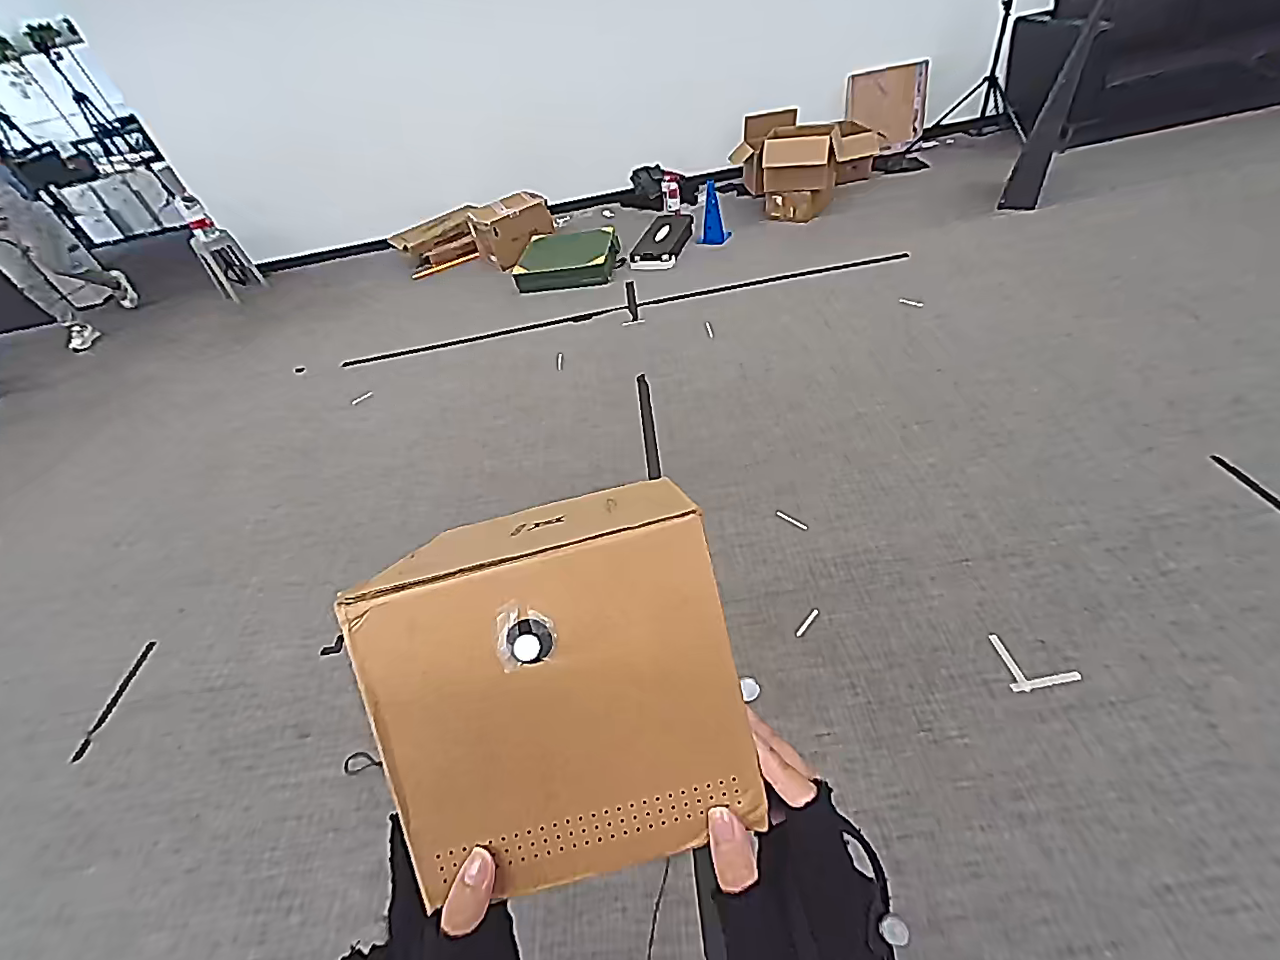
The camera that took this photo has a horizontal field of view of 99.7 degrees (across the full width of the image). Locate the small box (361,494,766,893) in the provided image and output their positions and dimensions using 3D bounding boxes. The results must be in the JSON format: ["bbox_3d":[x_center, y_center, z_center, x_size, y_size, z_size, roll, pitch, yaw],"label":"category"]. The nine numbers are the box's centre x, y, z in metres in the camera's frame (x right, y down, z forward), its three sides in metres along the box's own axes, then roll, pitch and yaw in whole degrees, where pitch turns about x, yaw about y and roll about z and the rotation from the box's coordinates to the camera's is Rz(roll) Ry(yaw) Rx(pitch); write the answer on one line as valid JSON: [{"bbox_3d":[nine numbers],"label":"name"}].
[{"bbox_3d":[-0.037,0.117,0.350,0.179,0.176,0.168,-14,6,0],"label":"small box"}]
